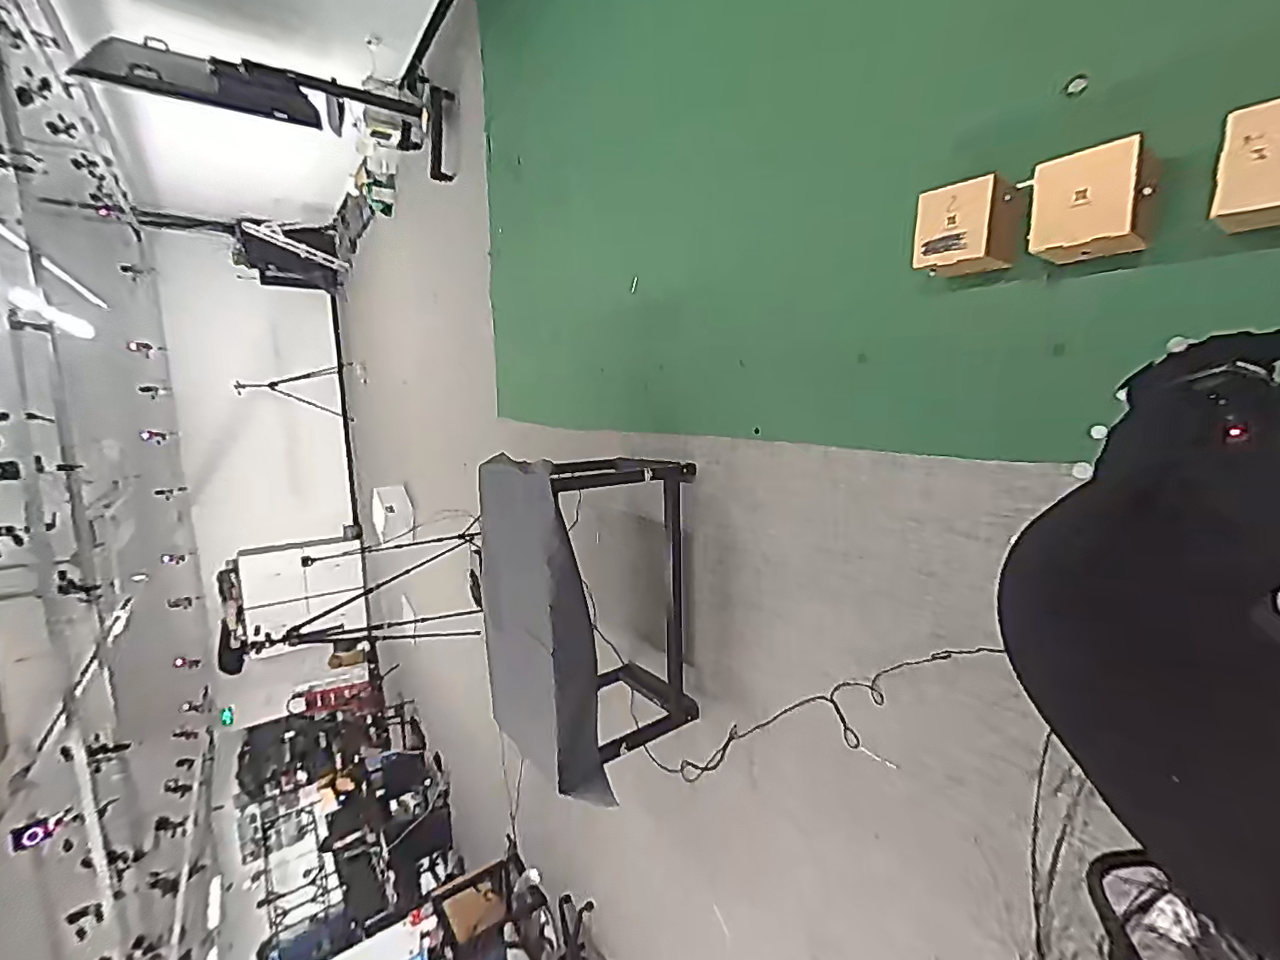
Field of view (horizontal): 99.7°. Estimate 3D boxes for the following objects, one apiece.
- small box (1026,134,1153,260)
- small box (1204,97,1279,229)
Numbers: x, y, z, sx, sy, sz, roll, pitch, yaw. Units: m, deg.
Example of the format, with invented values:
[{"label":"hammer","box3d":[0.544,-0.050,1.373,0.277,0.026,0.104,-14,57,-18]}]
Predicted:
[{"label":"small box","box3d":[0.931,-0.572,1.120,0.168,0.176,0.179,10,104,52]},{"label":"small box","box3d":[1.095,-0.534,0.902,0.179,0.176,0.168,14,107,52]}]
